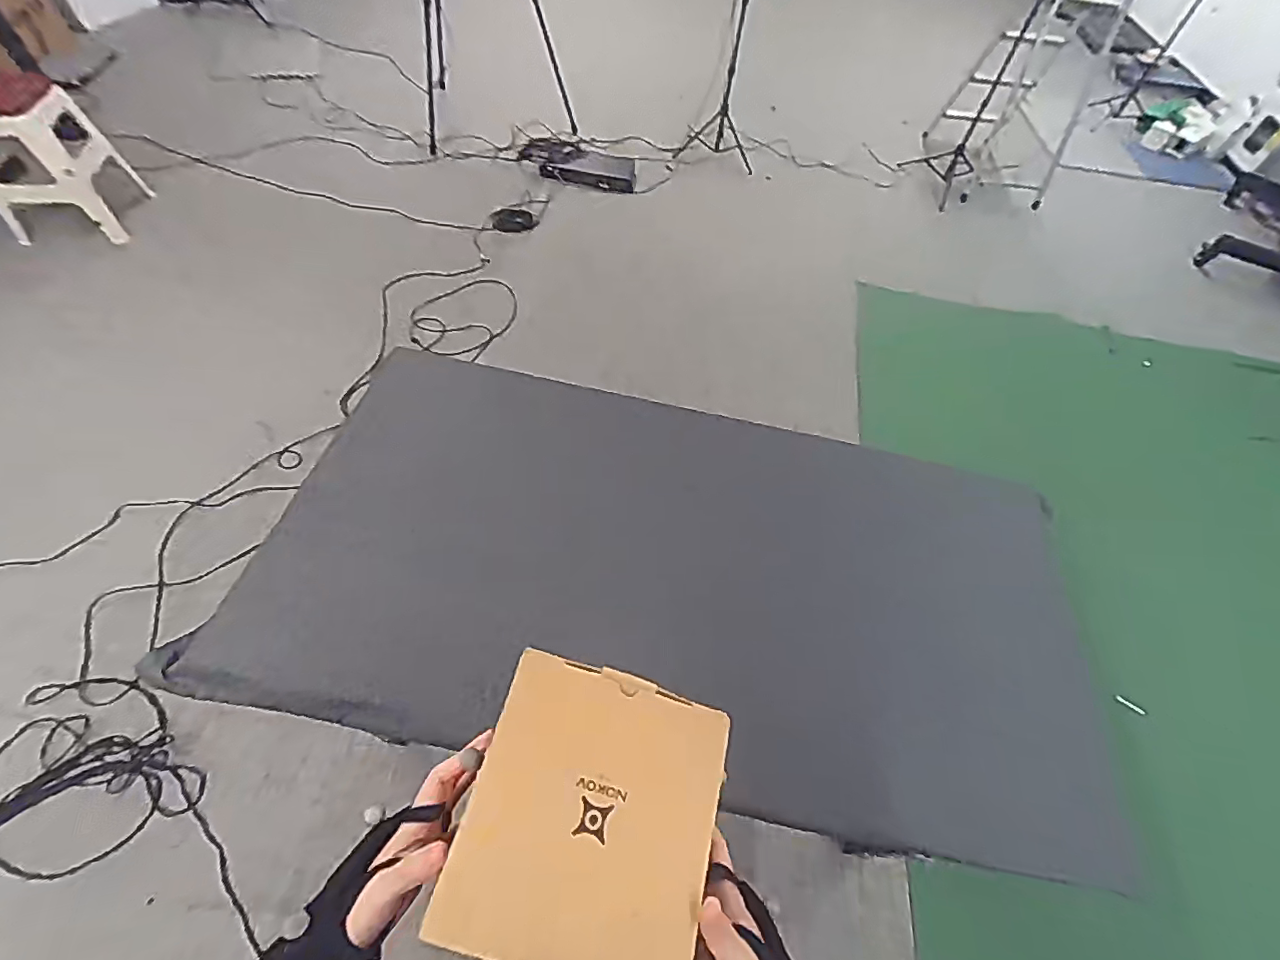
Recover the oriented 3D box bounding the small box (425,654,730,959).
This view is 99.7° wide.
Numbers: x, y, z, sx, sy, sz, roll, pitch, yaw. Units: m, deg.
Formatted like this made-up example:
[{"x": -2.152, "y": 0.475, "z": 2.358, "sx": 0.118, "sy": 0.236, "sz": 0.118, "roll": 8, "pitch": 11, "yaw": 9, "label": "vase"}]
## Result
[{"x": -0.046, "y": 0.268, "z": 0.432, "sx": 0.168, "sy": 0.176, "sz": 0.179, "roll": 20, "pitch": 56, "yaw": -4, "label": "small box"}]
